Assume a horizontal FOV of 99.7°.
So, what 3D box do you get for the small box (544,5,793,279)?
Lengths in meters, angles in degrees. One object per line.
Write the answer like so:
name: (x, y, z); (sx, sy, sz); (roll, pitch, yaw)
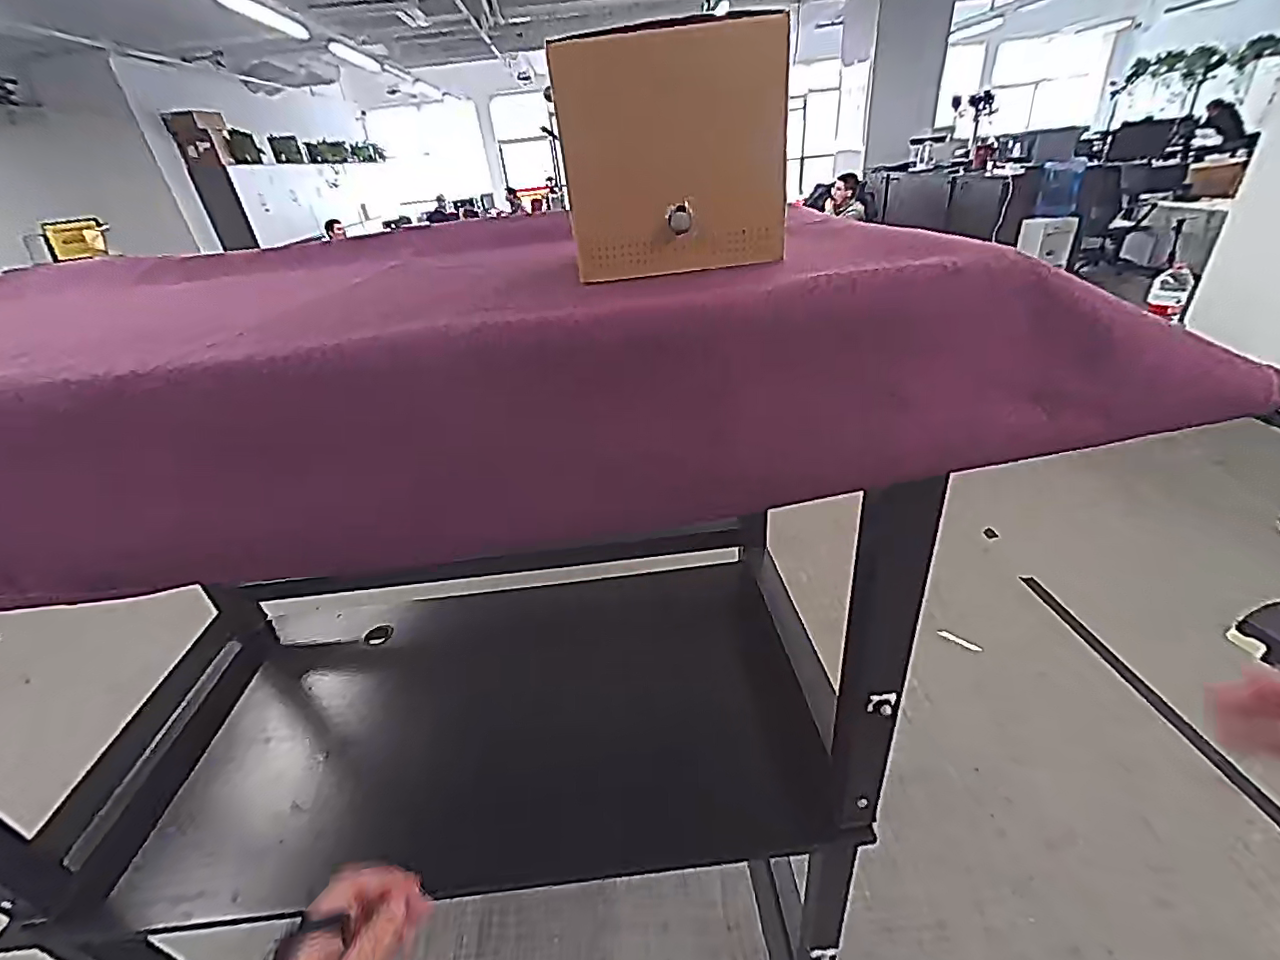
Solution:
small box: (0.024, -0.287, 0.481); (0.179, 0.176, 0.168); (-6, 30, 1)
